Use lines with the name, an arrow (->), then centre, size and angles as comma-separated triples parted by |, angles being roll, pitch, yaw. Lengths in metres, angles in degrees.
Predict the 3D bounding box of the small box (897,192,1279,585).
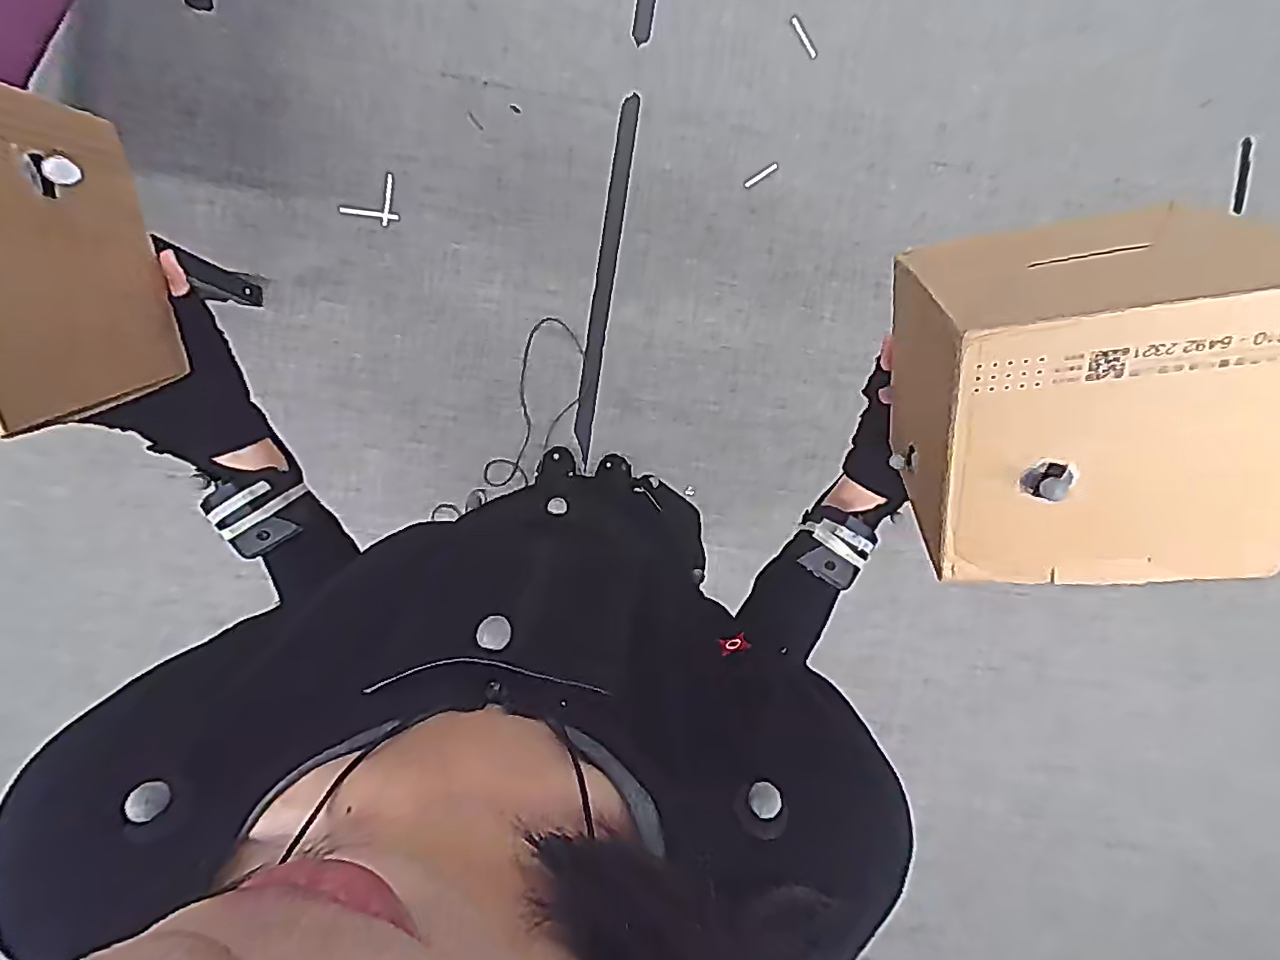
small box -> 0.261, -0.058, 0.327 | 0.168, 0.179, 0.176 | -3, 124, 16

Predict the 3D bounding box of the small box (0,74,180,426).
small box -> -0.399, -0.123, 0.278 | 0.168, 0.179, 0.176 | -4, 113, -13
